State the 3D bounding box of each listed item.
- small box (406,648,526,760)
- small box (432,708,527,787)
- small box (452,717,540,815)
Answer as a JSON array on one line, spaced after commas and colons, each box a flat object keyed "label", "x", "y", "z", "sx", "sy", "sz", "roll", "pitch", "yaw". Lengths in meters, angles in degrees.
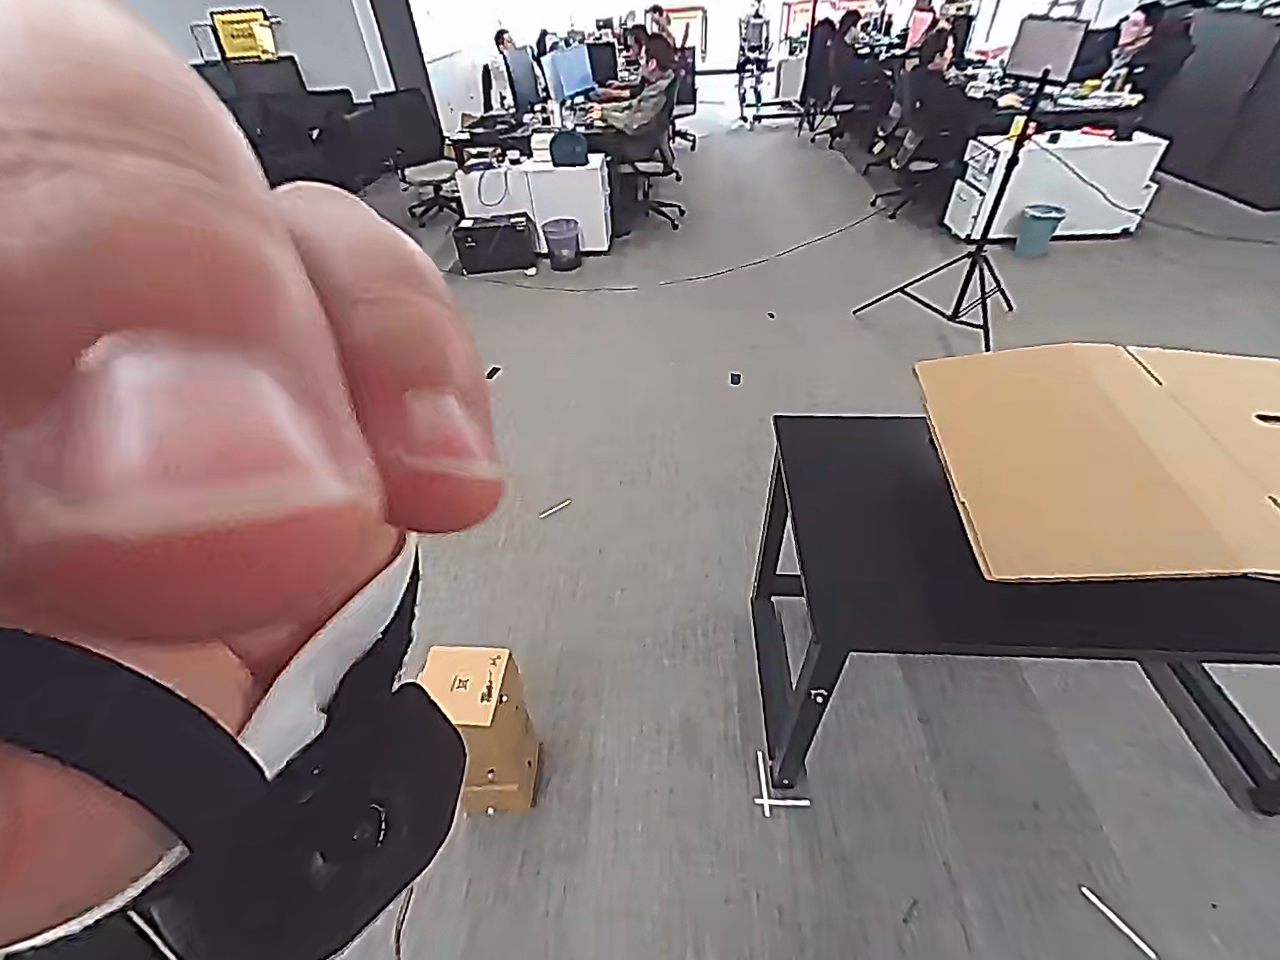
[{"label": "small box", "x": -0.358, "y": 0.477, "z": 1.150, "sx": 0.179, "sy": 0.176, "sz": 0.168, "roll": 0, "pitch": 42, "yaw": 5}, {"label": "small box", "x": -0.364, "y": 0.598, "z": 1.262, "sx": 0.168, "sy": 0.176, "sz": 0.179, "roll": -4, "pitch": 41, "yaw": -2}, {"label": "small box", "x": -0.353, "y": 0.722, "z": 1.366, "sx": 0.168, "sy": 0.176, "sz": 0.179, "roll": -2, "pitch": 43, "yaw": 2}]
